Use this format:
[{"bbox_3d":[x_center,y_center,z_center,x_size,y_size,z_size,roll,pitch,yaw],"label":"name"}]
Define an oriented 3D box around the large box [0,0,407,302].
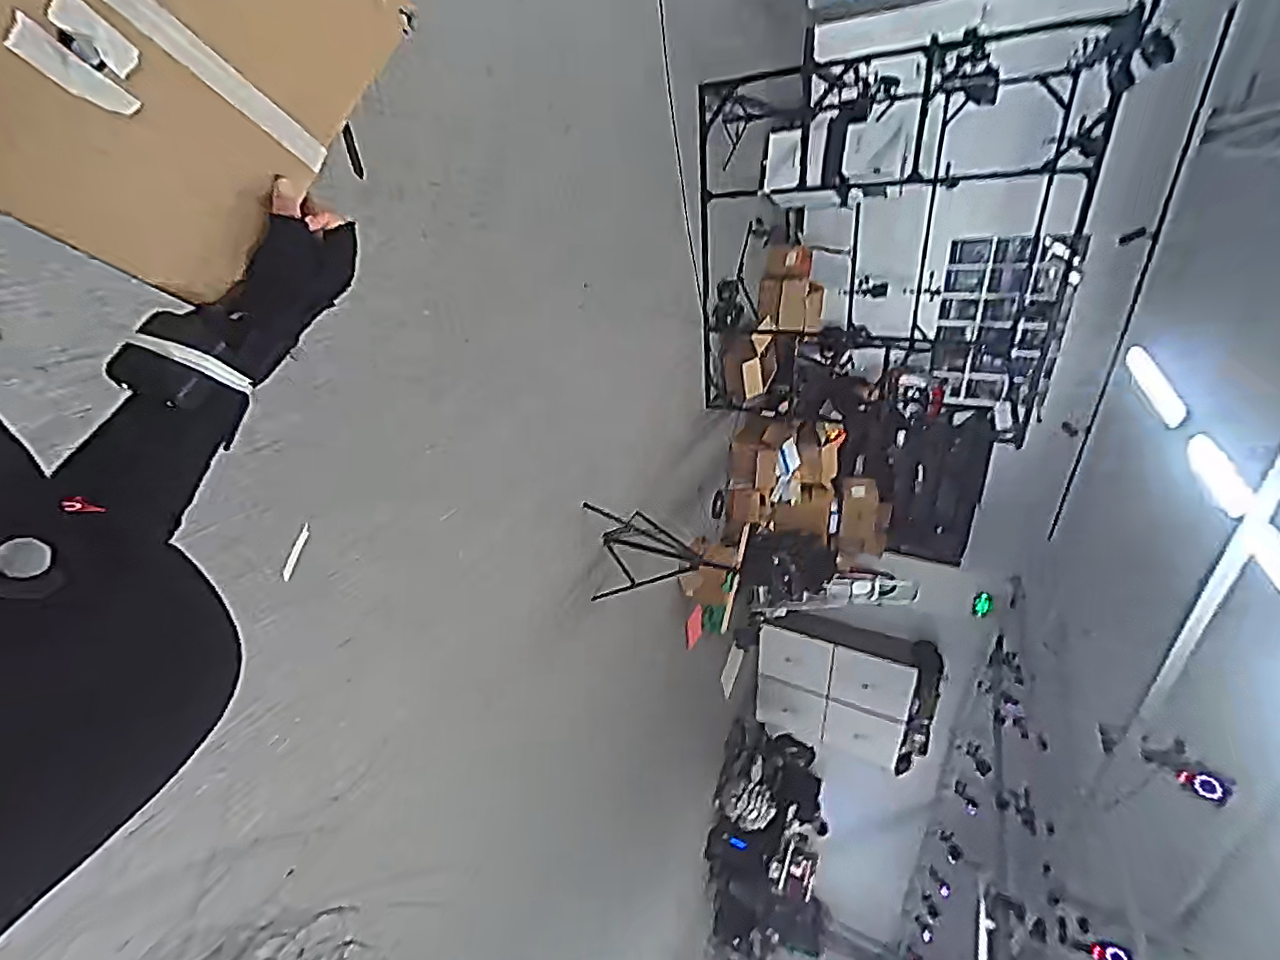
[{"bbox_3d":[-0.472,-0.395,0.368,0.320,0.320,0.408,-59,151,-1],"label":"large box"}]
